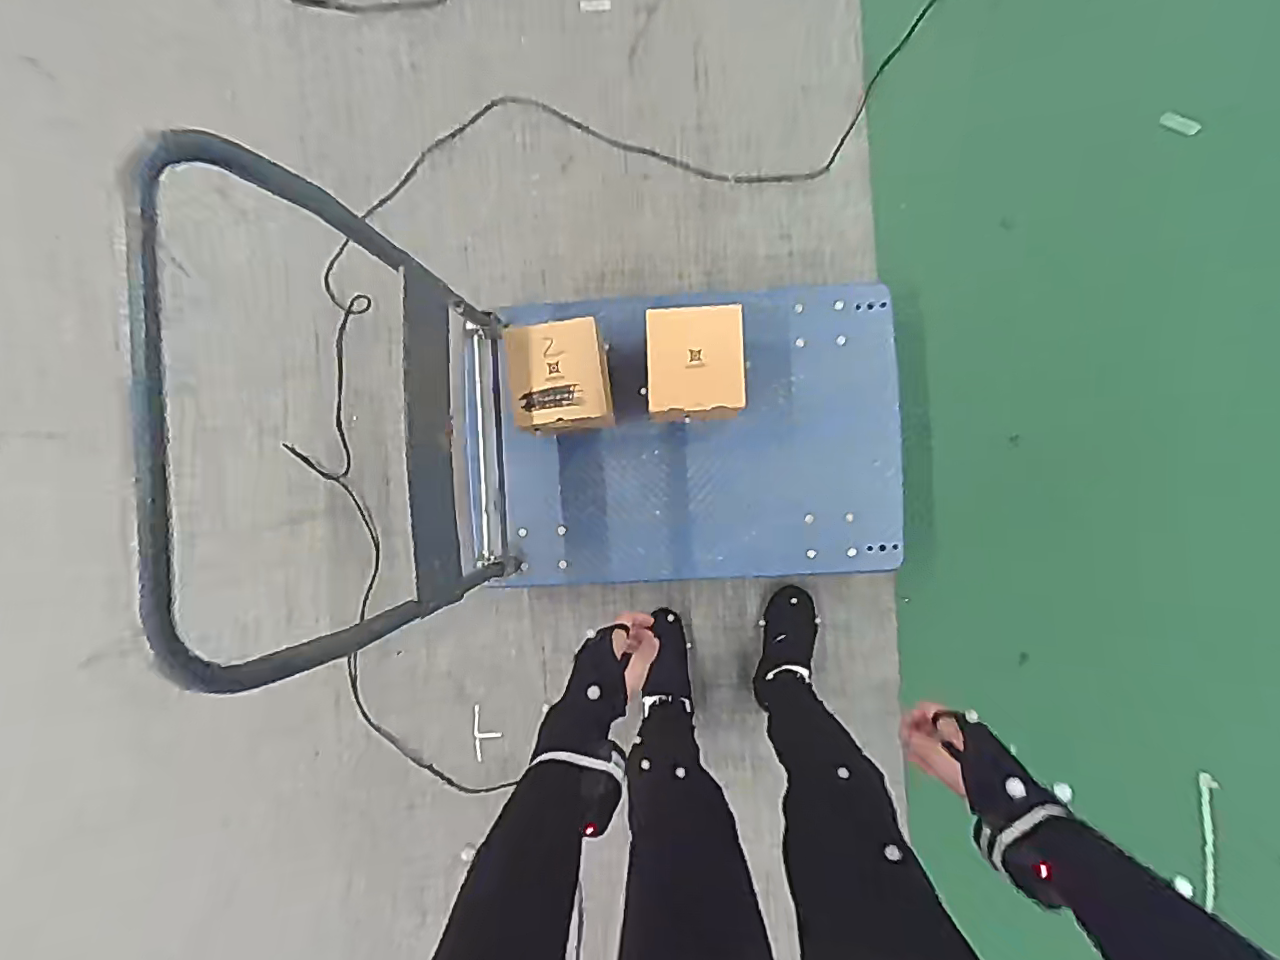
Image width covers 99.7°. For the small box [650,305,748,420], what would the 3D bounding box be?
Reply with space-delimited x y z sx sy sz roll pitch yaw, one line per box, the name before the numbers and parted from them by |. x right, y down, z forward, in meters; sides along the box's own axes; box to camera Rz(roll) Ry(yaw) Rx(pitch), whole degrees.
small box | 0.103 -0.209 0.997 0.168 0.176 0.179 -2 91 3
